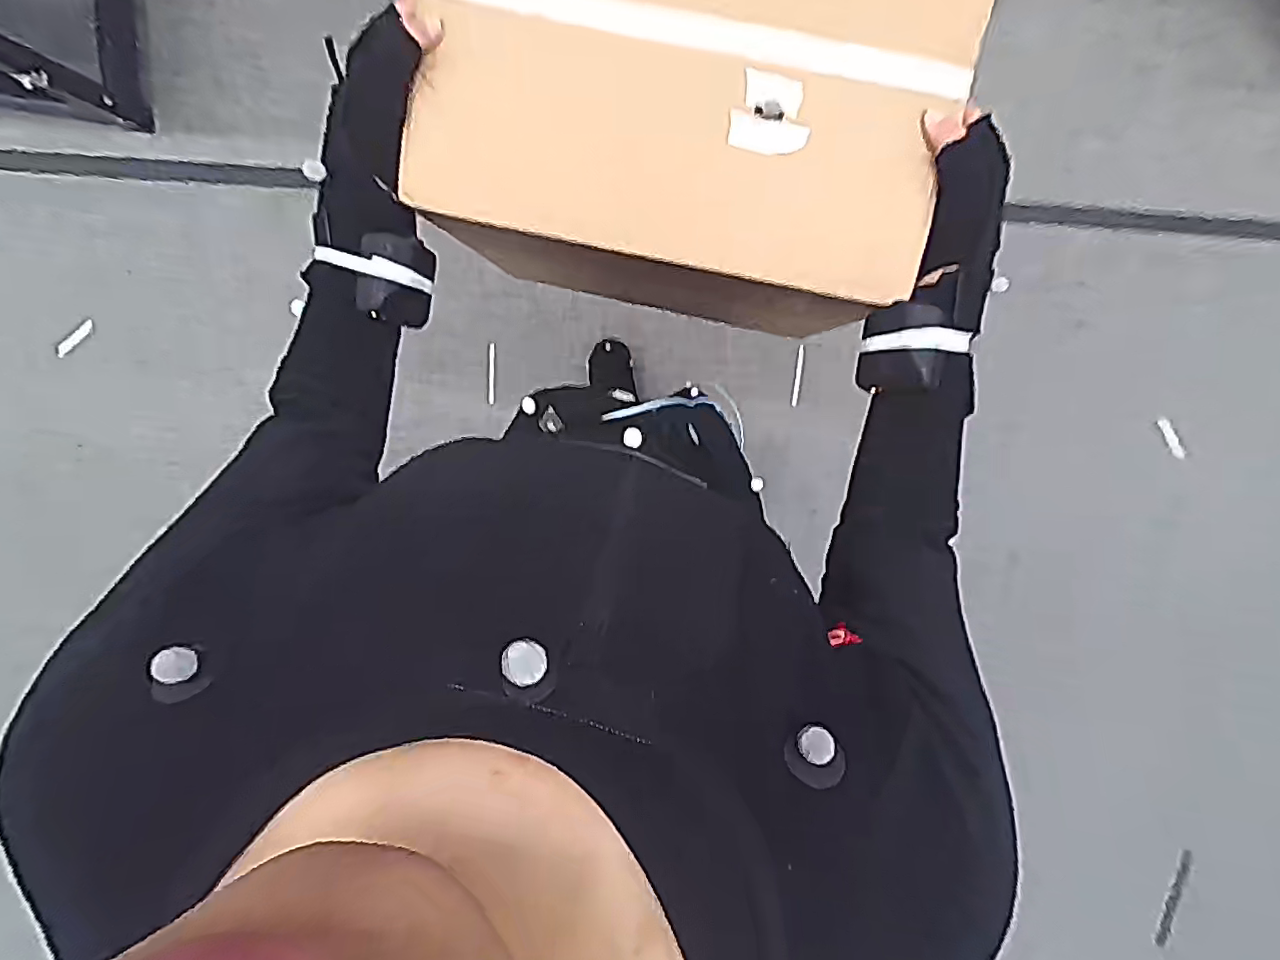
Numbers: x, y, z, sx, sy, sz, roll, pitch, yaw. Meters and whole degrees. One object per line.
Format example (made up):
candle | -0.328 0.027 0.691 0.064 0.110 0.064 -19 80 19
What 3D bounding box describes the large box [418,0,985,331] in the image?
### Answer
large box | 0.047 -0.354 0.549 0.408 0.320 0.320 12 102 -1
